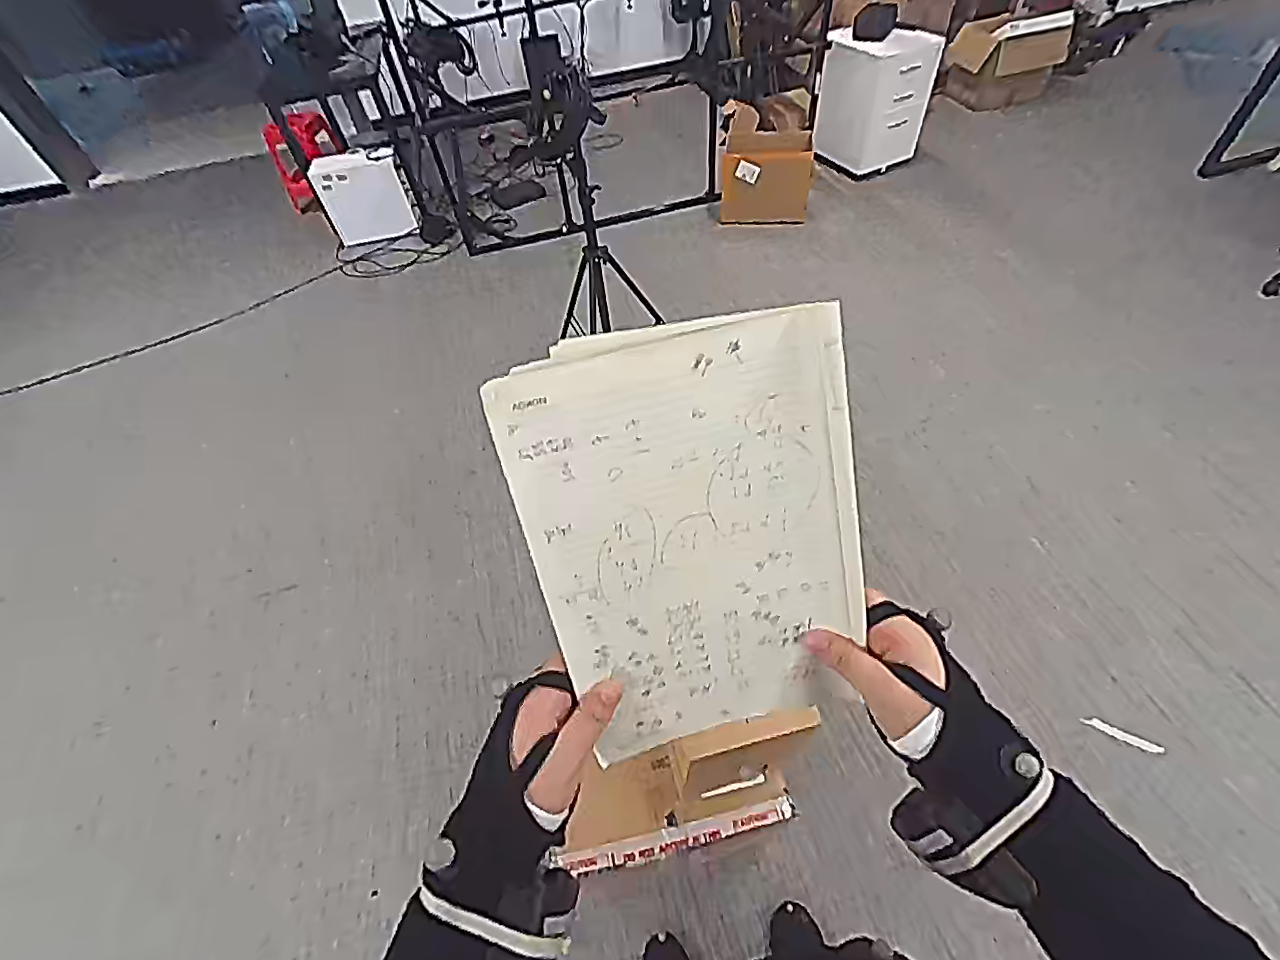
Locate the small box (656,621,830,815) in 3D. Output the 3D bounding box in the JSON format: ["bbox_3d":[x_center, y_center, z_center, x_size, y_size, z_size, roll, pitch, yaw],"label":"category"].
[{"bbox_3d":[0.119,0.314,0.711,0.168,0.176,0.179,-12,53,-6],"label":"small box"}]

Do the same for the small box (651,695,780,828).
[{"bbox_3d":[0.123,0.416,0.840,0.179,0.176,0.168,-15,53,-8],"label":"small box"}]
